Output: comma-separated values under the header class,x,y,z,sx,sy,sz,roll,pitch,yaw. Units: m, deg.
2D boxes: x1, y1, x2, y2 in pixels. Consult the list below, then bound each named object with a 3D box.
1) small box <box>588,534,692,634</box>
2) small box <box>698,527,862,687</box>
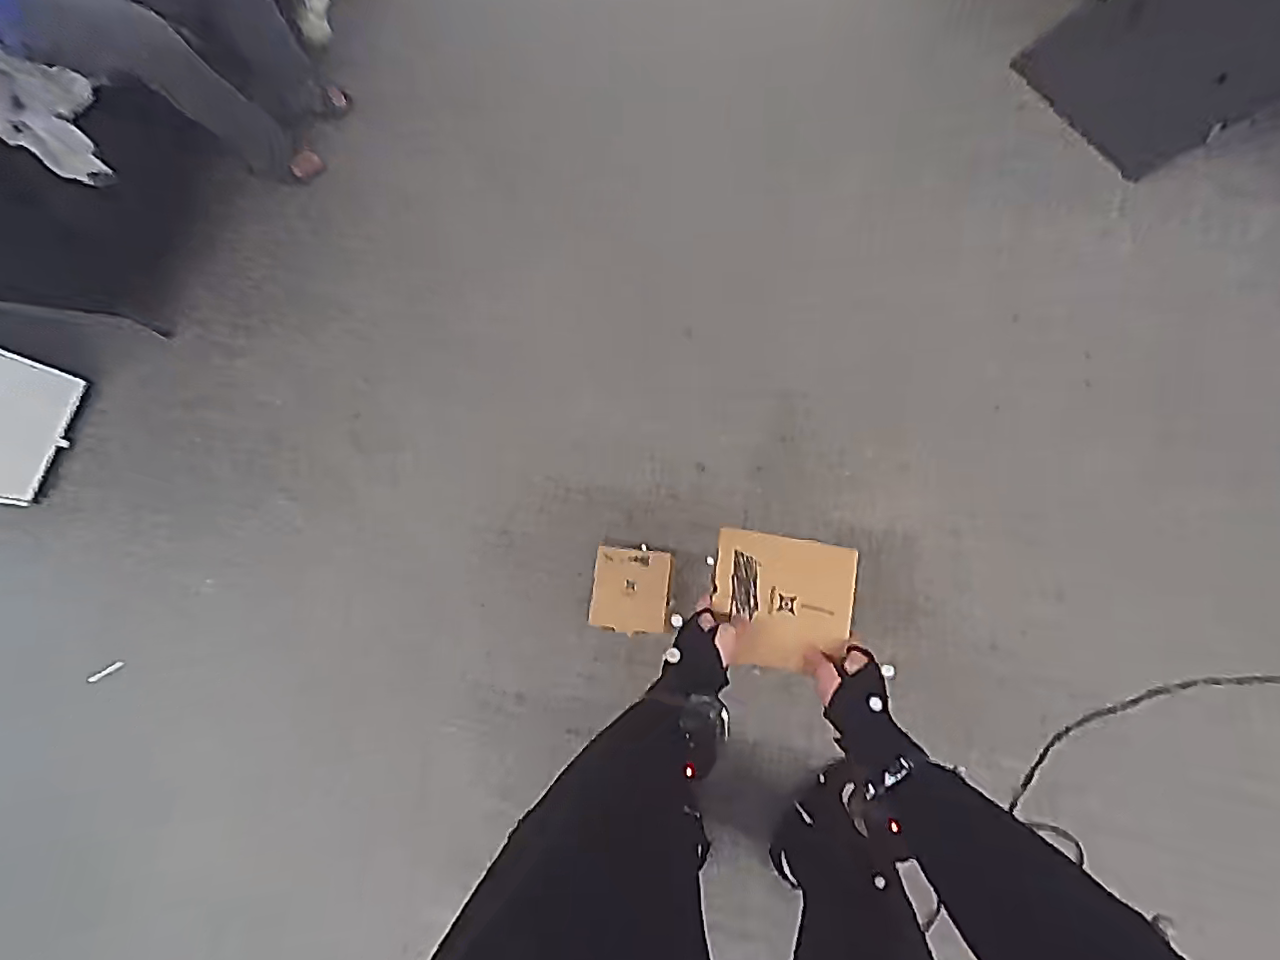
class,x,y,z,sx,sy,sz,roll,pitch,yaw
small box,0.006,0.247,1.248,0.179,0.176,0.168,-25,71,4
small box,0.191,0.177,0.762,0.179,0.176,0.168,13,78,13
